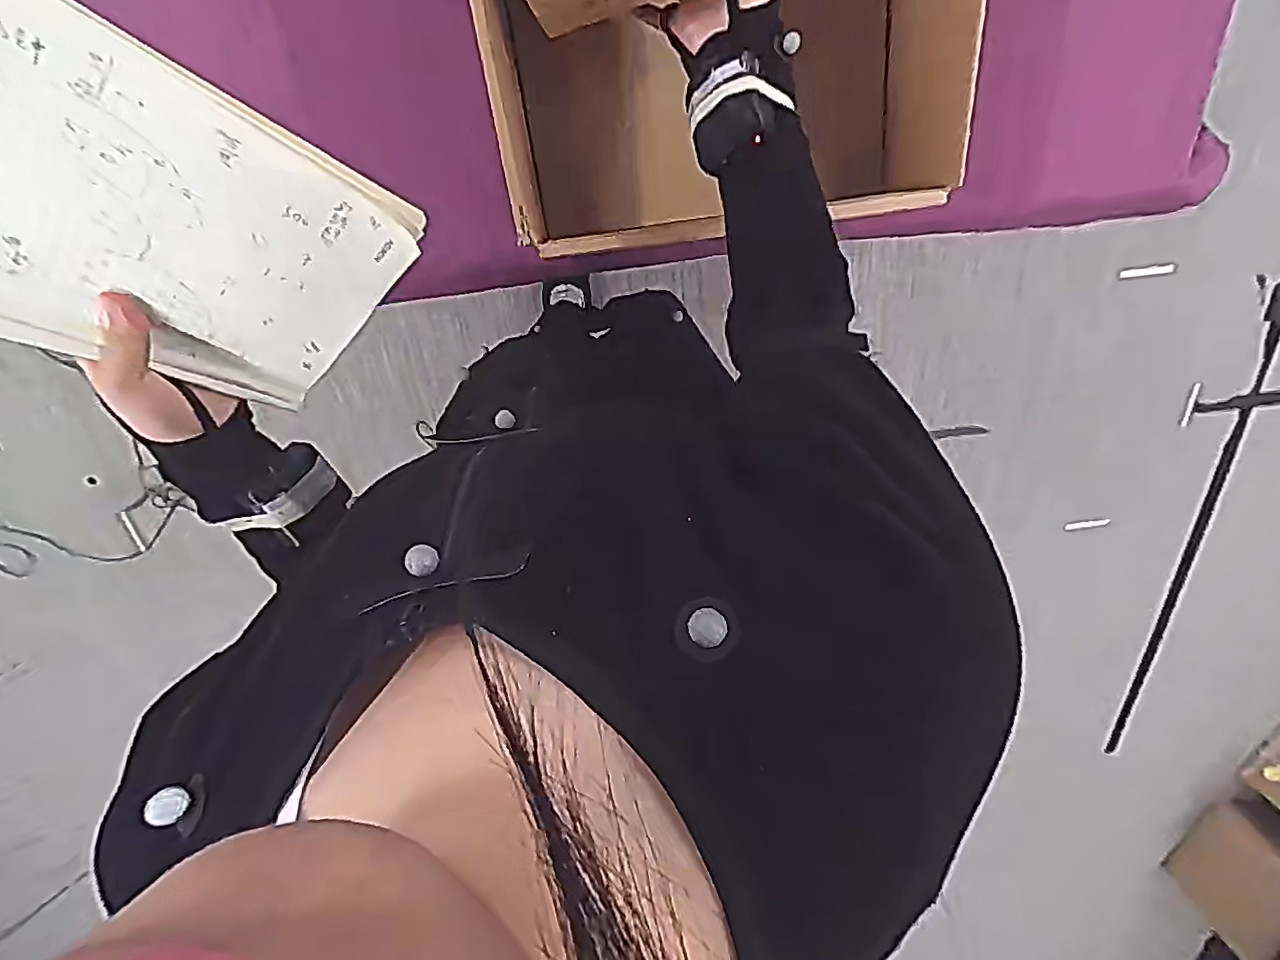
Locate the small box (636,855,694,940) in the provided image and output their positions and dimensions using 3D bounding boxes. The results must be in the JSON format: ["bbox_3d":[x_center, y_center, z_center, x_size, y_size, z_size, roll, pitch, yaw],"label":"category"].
[{"bbox_3d":[0.081,1.405,1.834,0.168,0.176,0.179,-10,117,0],"label":"small box"}]
